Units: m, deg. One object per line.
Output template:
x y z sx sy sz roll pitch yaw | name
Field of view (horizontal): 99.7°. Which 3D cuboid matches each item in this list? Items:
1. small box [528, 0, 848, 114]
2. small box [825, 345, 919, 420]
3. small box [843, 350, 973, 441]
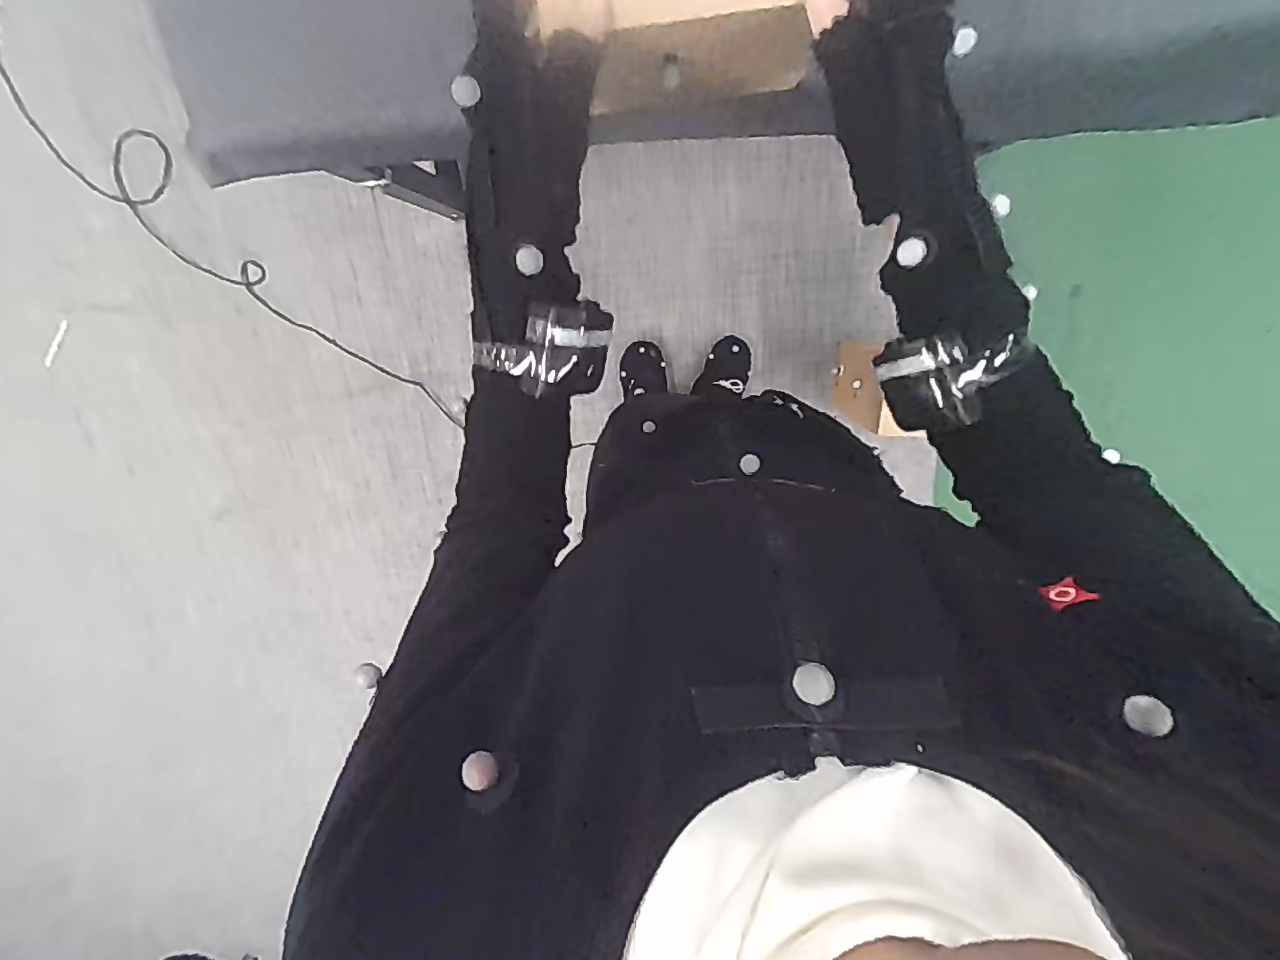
0.026 -0.348 0.334 0.179 0.176 0.168 -4 112 4 | small box
0.563 -0.232 1.291 0.179 0.176 0.168 3 107 1 | small box
0.550 -0.183 1.134 0.179 0.176 0.168 2 107 0 | small box
